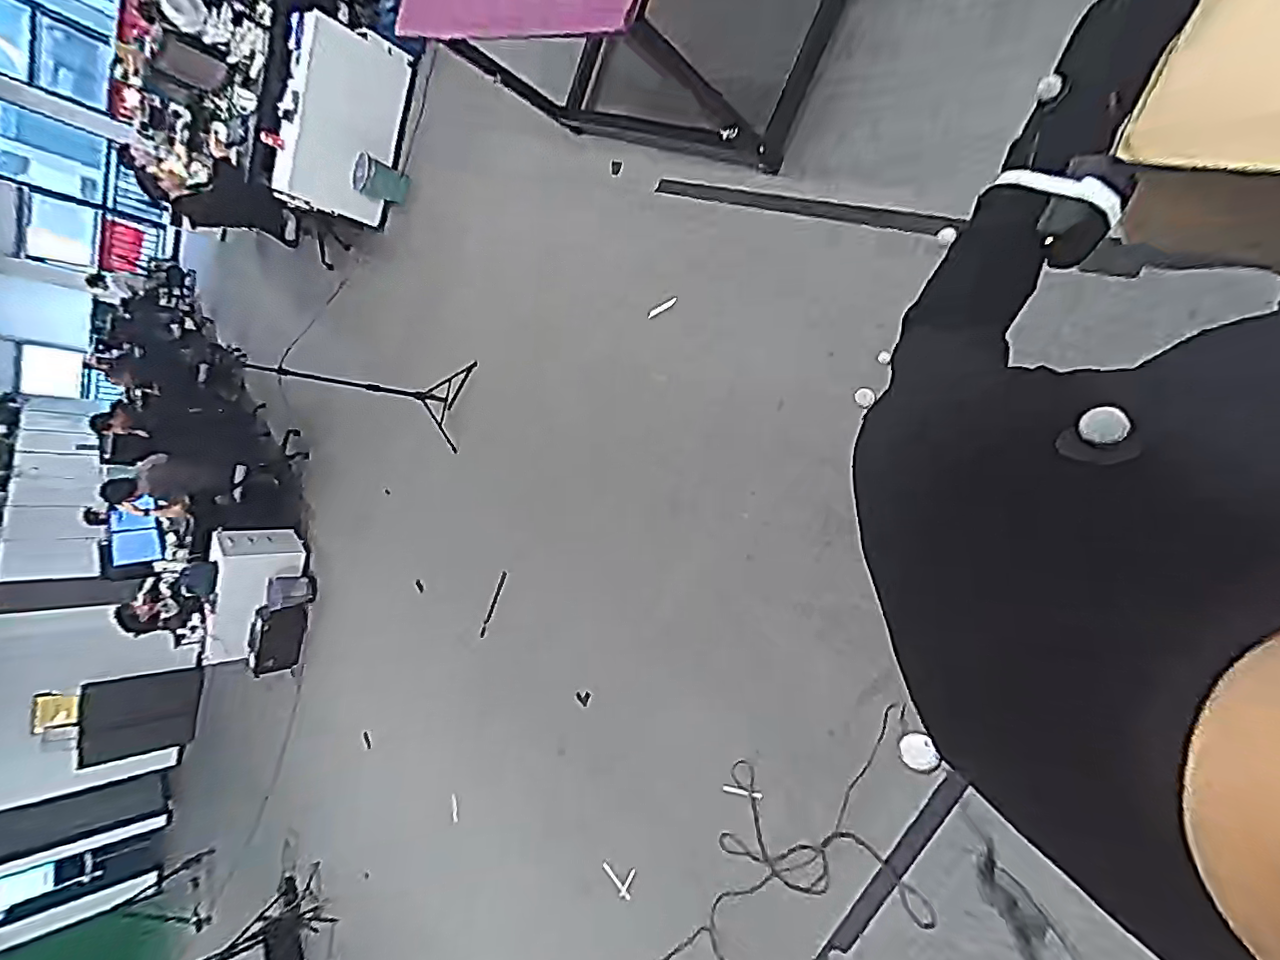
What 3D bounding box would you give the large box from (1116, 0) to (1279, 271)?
[{"bbox_3d":[0.637,-0.315,0.361,0.408,0.320,0.320,29,115,35],"label":"large box"}]
